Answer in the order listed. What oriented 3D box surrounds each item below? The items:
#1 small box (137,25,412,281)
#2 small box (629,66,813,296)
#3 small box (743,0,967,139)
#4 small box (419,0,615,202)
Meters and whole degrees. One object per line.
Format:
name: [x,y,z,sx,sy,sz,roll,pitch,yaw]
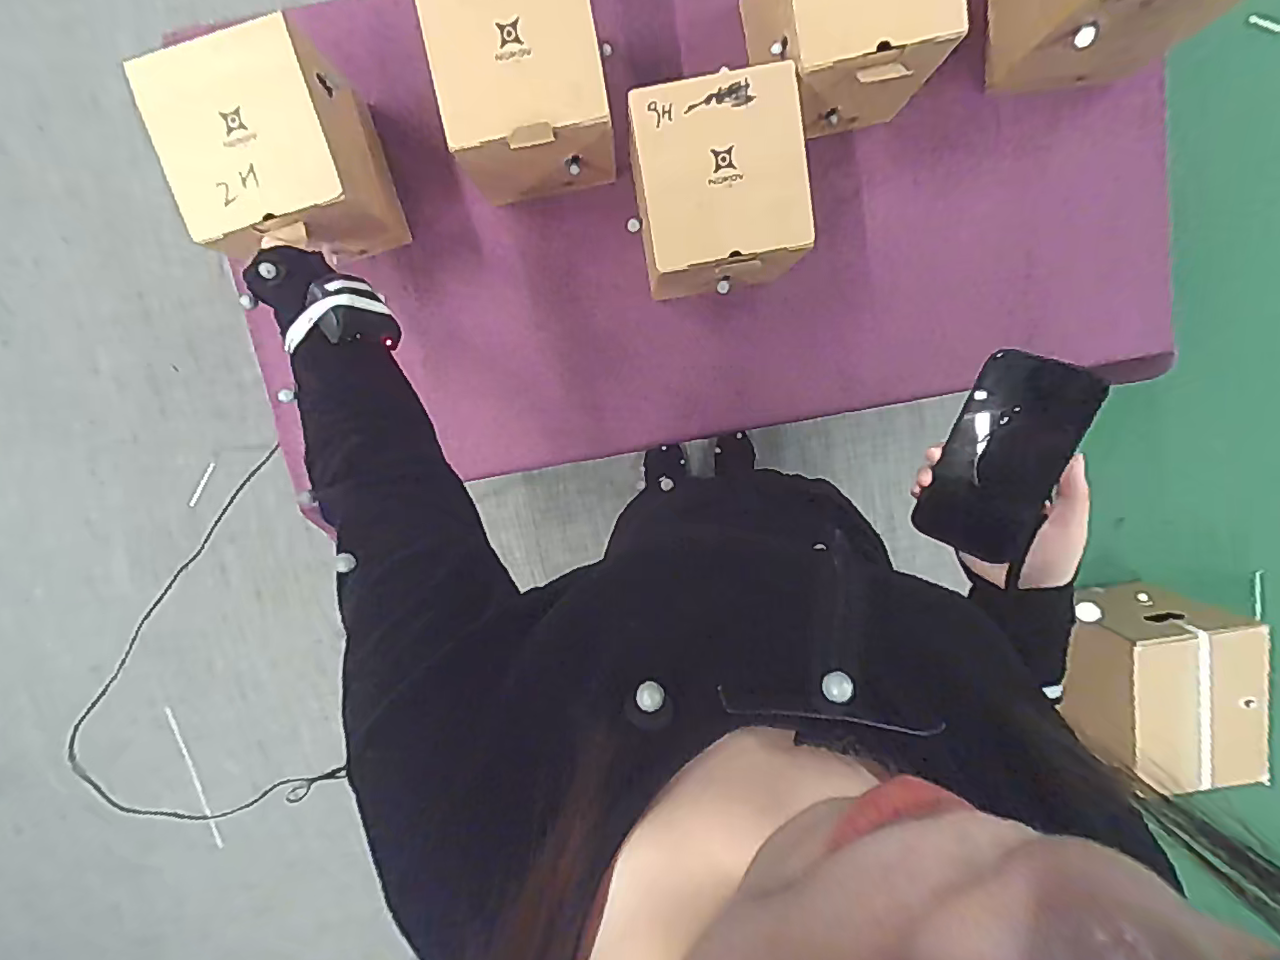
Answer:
small box: [-0.392,-0.349,0.616,0.168,0.176,0.179,-16,99,3]
small box: [0.084,-0.318,0.617,0.168,0.176,0.179,-10,99,2]
small box: [0.218,-0.507,0.589,0.168,0.176,0.179,-12,100,2]
small box: [-0.123,-0.432,0.602,0.168,0.176,0.179,-10,98,1]
